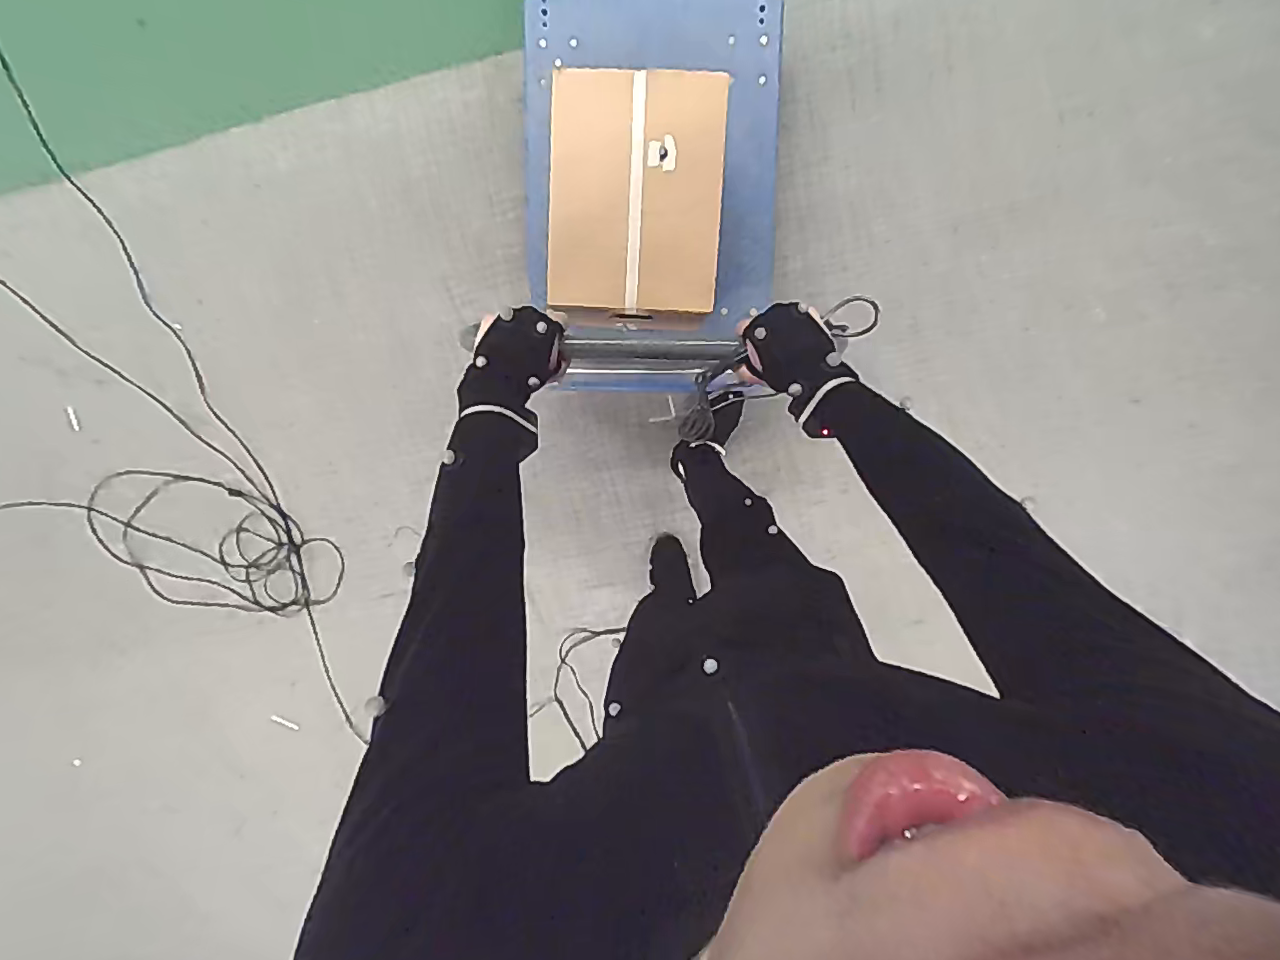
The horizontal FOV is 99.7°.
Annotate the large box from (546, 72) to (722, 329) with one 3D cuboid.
[{"bbox_3d":[-0.009,-0.540,1.129,0.320,0.320,0.408,3,98,1],"label":"large box"}]
